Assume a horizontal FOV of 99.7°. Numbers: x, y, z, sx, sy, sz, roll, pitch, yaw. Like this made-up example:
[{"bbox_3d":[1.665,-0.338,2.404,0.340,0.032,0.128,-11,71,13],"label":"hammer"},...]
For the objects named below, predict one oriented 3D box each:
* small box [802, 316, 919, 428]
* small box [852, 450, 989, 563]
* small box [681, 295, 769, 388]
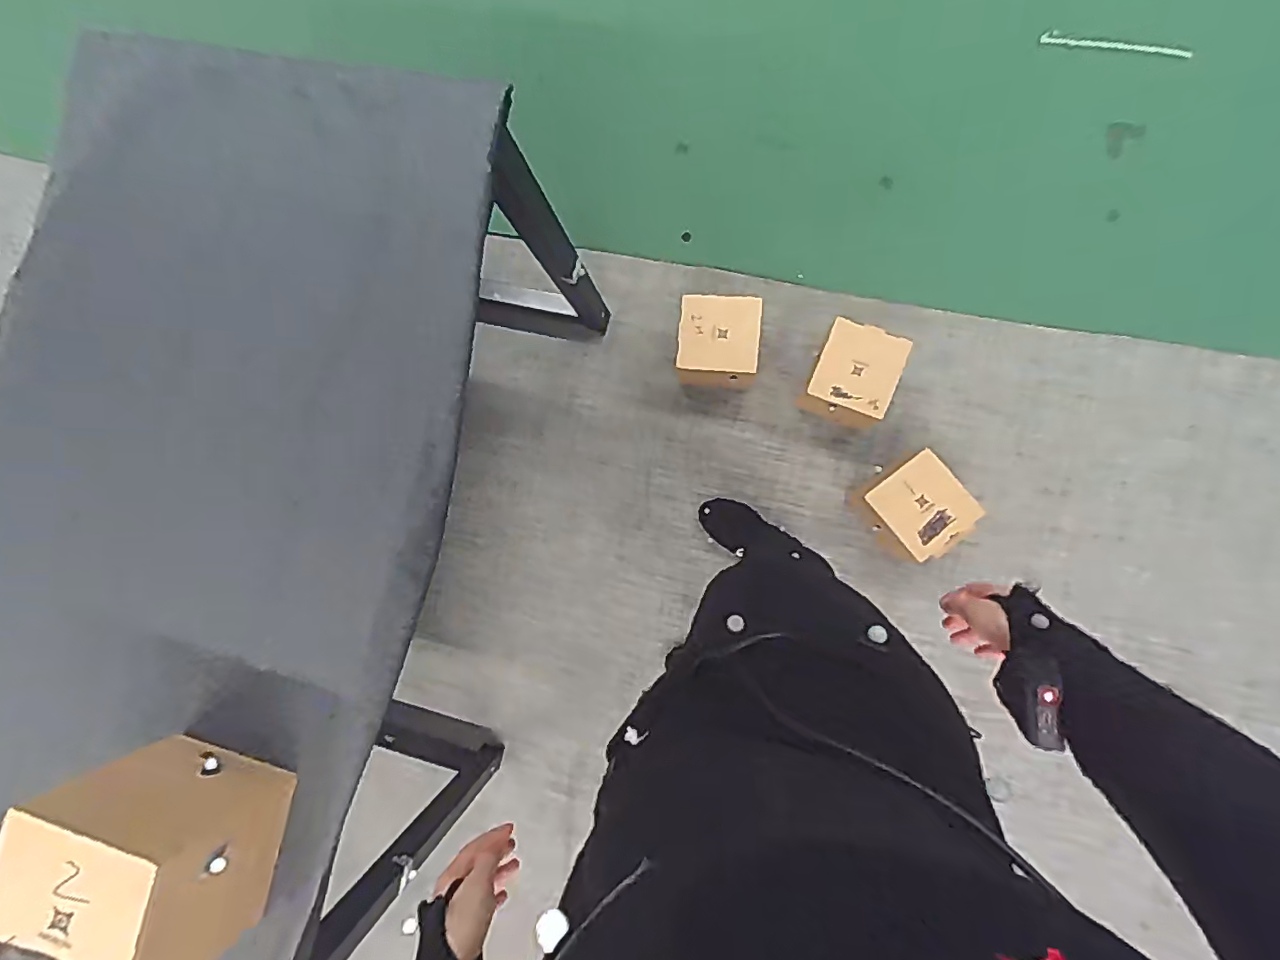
[{"bbox_3d":[0.474,-0.230,1.195,0.168,0.176,0.179,23,91,8],"label":"small box"},{"bbox_3d":[0.592,0.054,1.169,0.168,0.176,0.179,-39,83,5],"label":"small box"},{"bbox_3d":[0.193,-0.310,1.238,0.179,0.176,0.168,5,88,8],"label":"small box"}]
